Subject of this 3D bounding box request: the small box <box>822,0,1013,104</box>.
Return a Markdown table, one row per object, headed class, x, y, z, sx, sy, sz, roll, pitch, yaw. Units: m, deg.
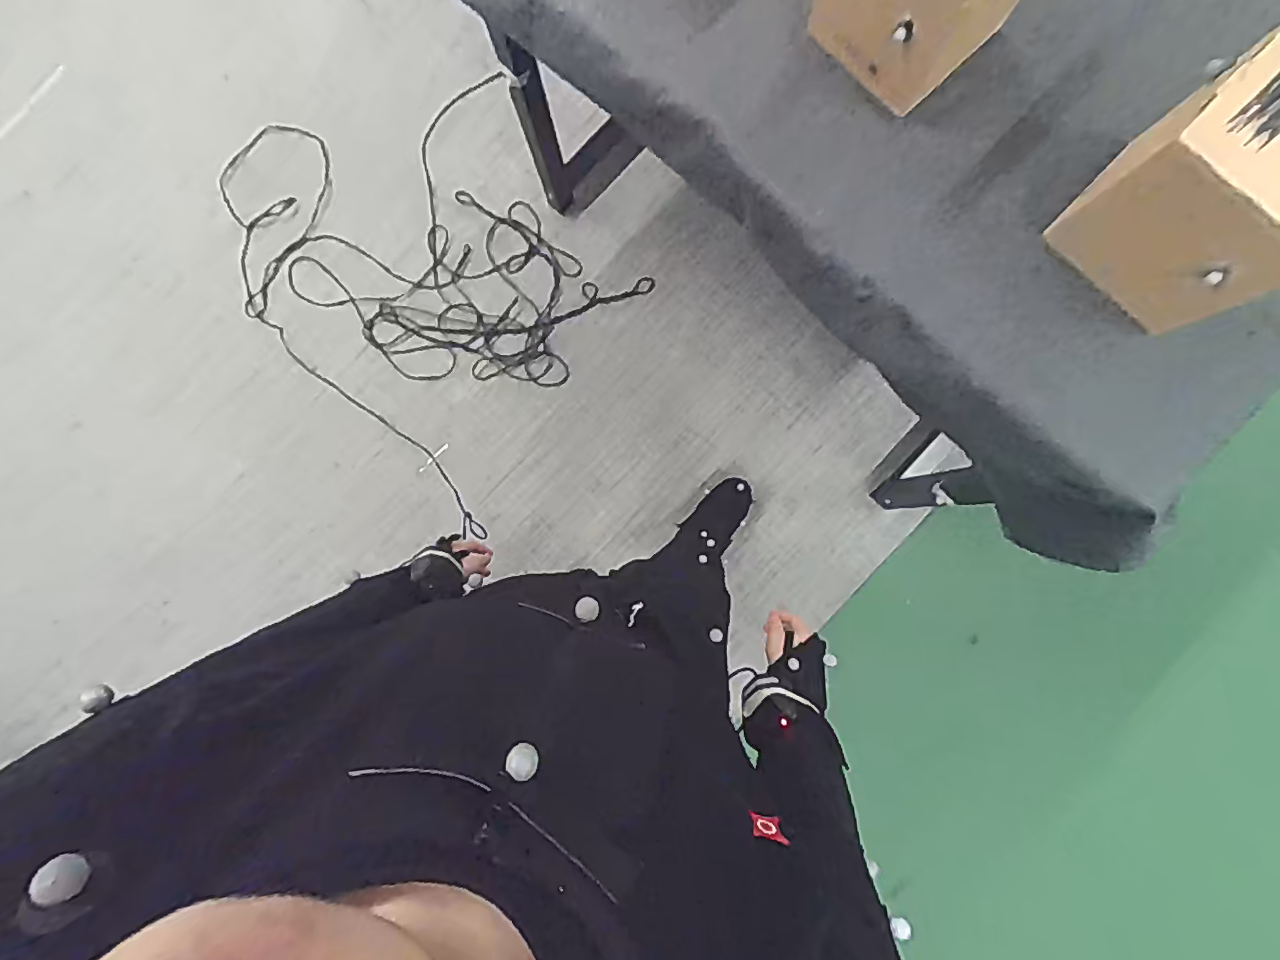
| class | x | y | z | sx | sy | sz | roll | pitch | yaw |
| --- | --- | --- | --- | --- | --- | --- | --- | --- | --- |
| small box | 0.321 | -0.564 | 0.579 | 0.179 | 0.176 | 0.168 | -43 | 87 | -2 |
